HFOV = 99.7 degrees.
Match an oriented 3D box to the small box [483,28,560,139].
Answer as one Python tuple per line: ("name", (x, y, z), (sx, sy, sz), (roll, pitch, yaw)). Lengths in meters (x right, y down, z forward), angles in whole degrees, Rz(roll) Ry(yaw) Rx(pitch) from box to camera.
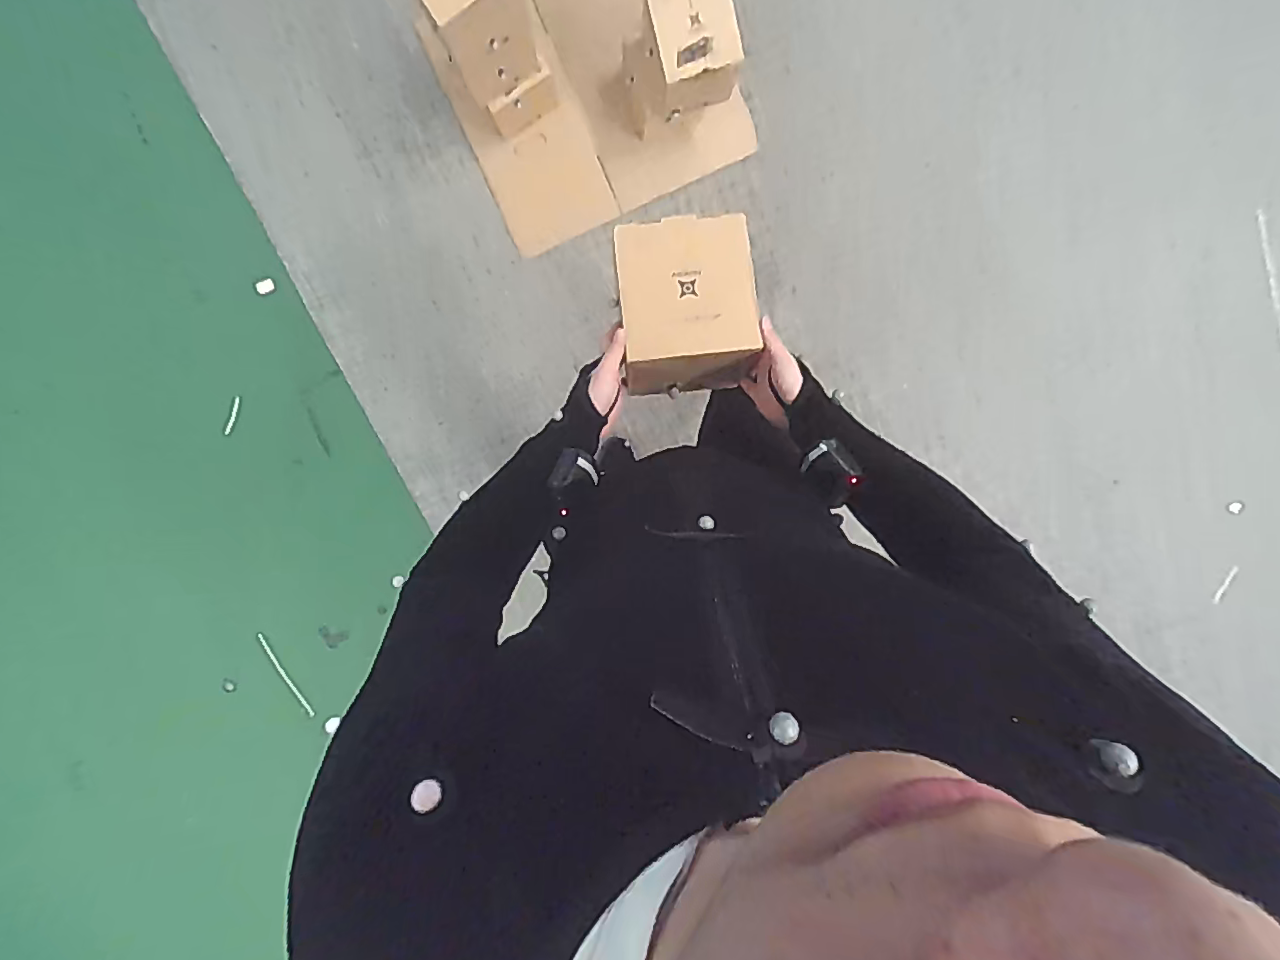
("small box", (-0.309, -0.963, 1.286), (0.168, 0.176, 0.179), (-31, 101, 5))

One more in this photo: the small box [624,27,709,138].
("small box", (0.068, -0.957, 1.297), (0.168, 0.176, 0.179), (-19, 101, 3))

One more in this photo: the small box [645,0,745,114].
("small box", (0.110, -0.909, 1.139), (0.168, 0.176, 0.179), (-15, 101, 1))

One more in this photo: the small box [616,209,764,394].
("small box", (0.056, -0.228, 0.723), (0.168, 0.176, 0.179), (-6, 84, -1))

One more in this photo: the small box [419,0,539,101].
("small box", (-0.329, -0.934, 1.123), (0.168, 0.176, 0.179), (-31, 101, 4))
